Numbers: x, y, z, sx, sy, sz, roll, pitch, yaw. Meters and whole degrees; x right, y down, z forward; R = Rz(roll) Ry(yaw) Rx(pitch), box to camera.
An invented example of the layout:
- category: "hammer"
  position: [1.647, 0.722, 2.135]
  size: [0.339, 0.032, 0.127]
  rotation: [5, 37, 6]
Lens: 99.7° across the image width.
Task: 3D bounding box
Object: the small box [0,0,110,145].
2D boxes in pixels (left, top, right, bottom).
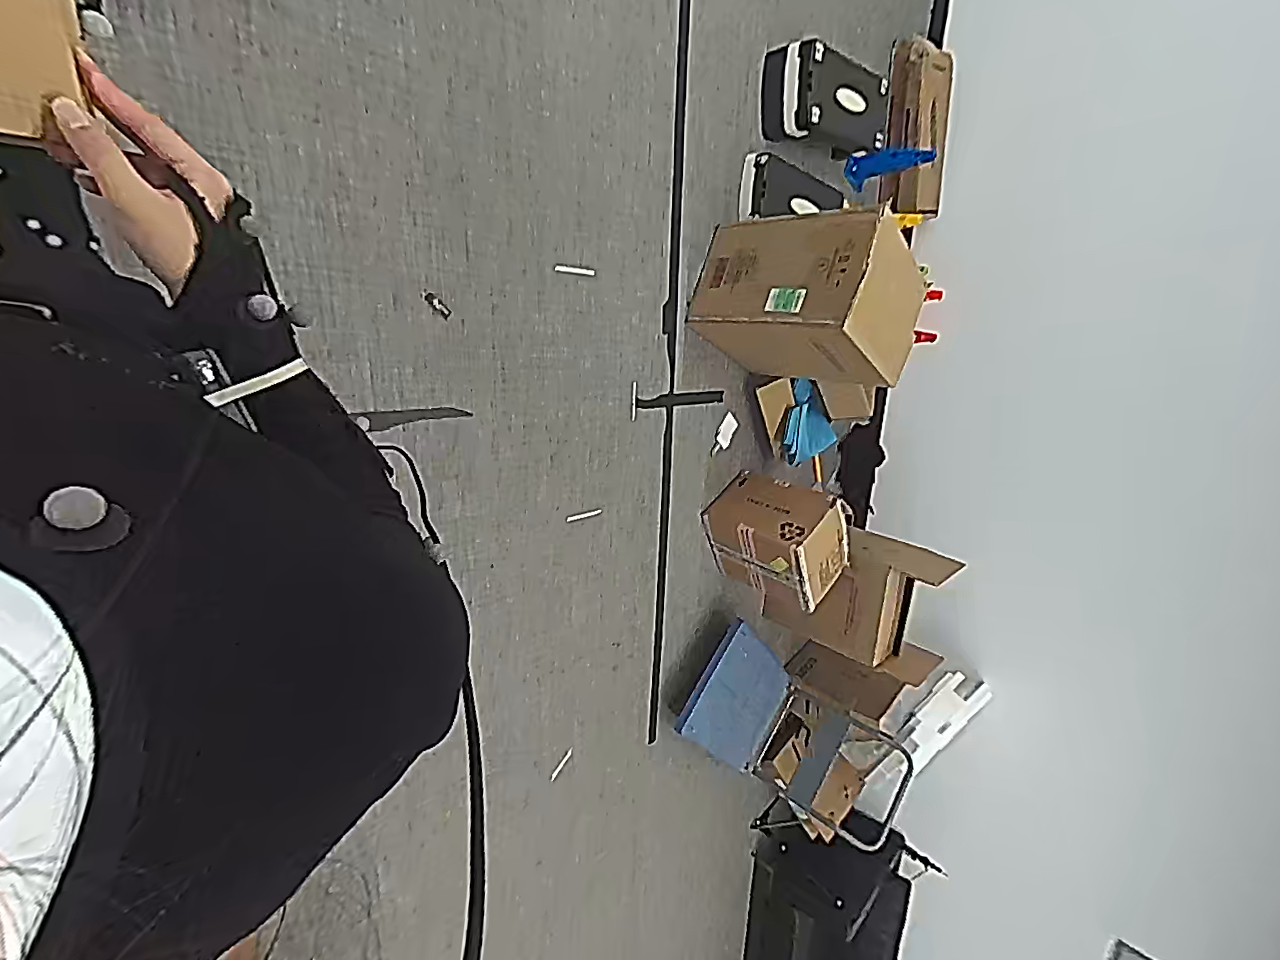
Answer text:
- category: "small box"
  position: [-0.407, -0.279, 0.271]
  size: [0.179, 0.176, 0.168]
  rotation: [-12, 121, -38]
